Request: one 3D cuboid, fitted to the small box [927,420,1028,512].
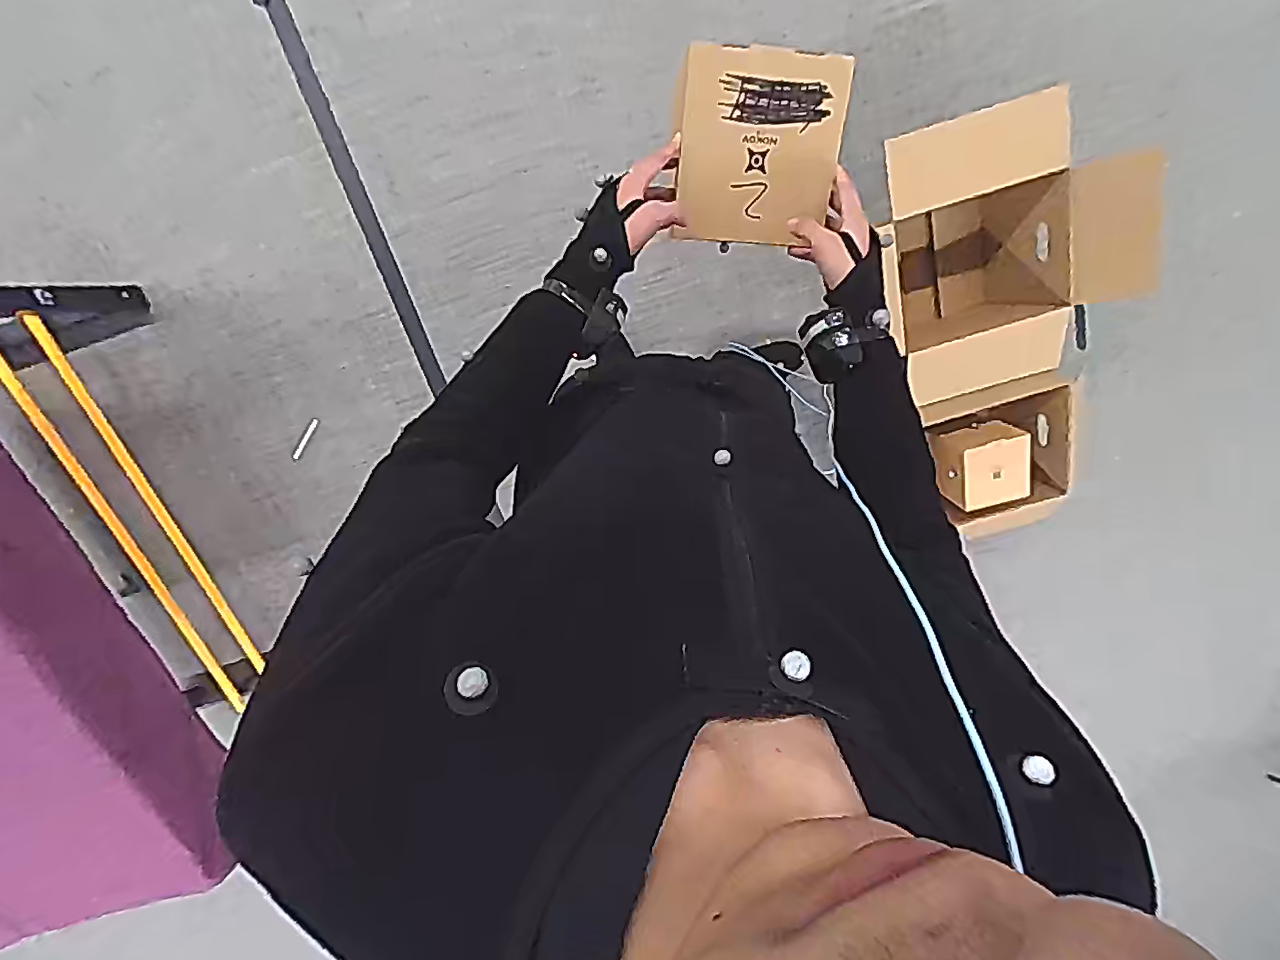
[{"bbox_3d":[0.886,-0.041,1.430,0.168,0.176,0.179,-14,110,3],"label":"small box"}]
